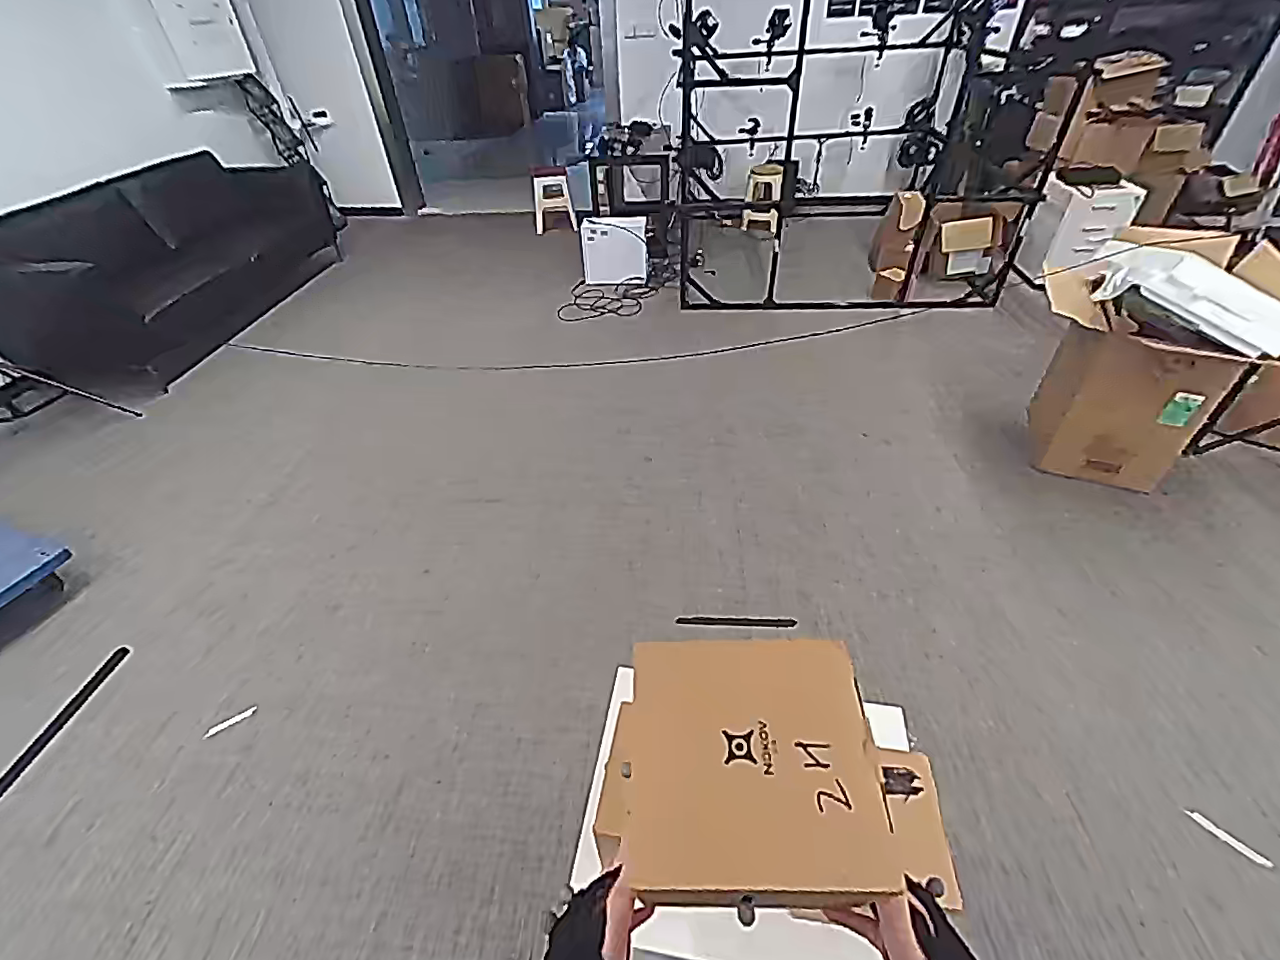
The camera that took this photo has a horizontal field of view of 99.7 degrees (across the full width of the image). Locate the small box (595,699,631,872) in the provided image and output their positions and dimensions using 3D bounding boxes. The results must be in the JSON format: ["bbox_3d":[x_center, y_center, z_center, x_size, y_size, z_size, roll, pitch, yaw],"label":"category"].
[{"bbox_3d":[0.040,0.449,0.778,0.168,0.176,0.179,5,41,10],"label":"small box"}]

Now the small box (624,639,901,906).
[{"bbox_3d":[0.085,0.246,0.451,0.179,0.176,0.168,-2,50,4],"label":"small box"}]
